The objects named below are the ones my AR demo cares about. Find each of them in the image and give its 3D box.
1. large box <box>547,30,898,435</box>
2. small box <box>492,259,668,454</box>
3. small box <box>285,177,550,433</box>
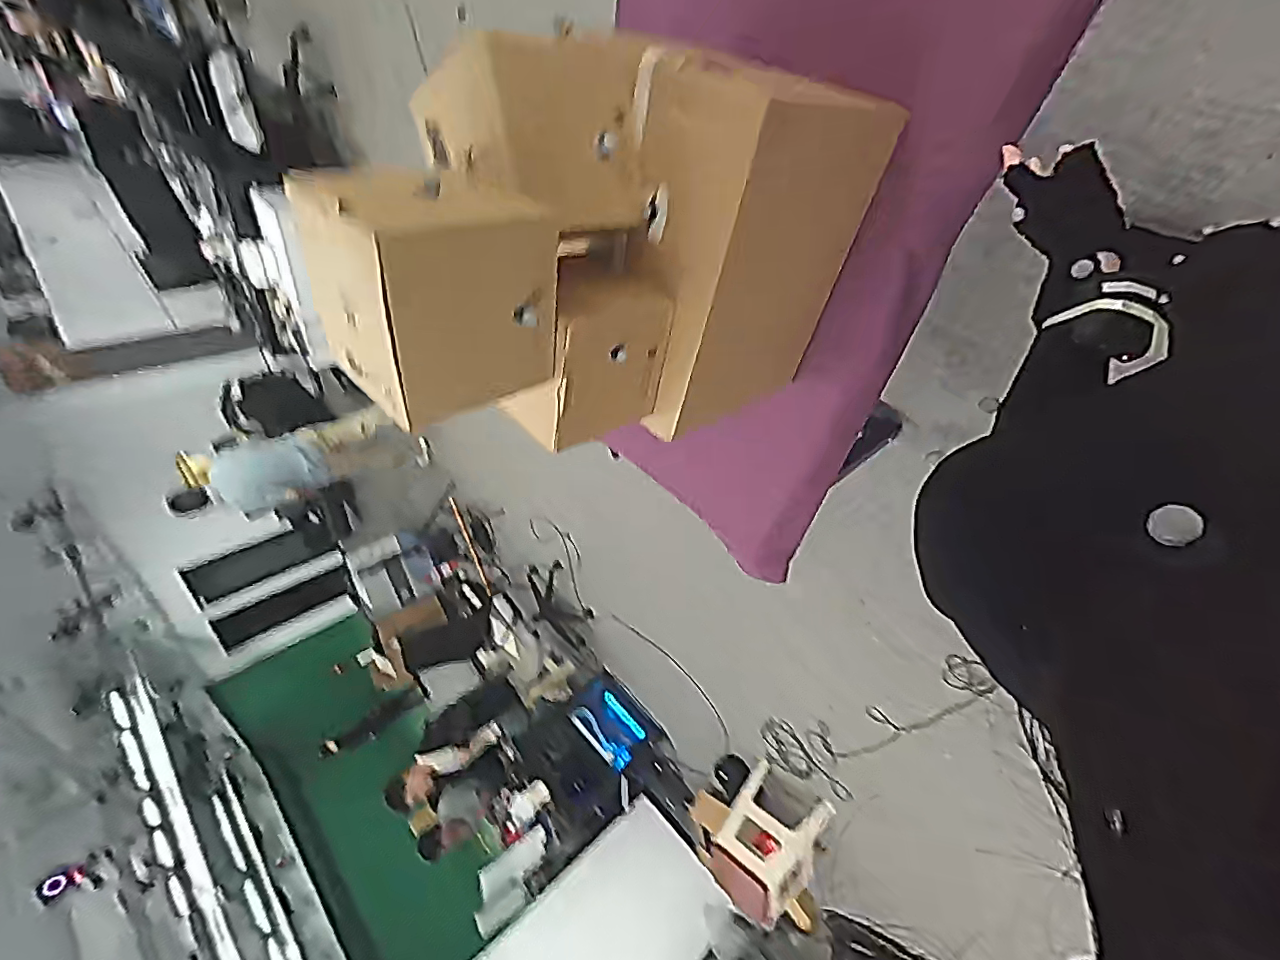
[{"bbox_3d":[0.083,-0.342,0.771,0.320,0.320,0.408,38,136,27],"label":"large box"},{"bbox_3d":[-0.089,-0.165,0.678,0.179,0.176,0.168,39,136,30],"label":"small box"},{"bbox_3d":[-0.201,-0.180,0.526,0.168,0.176,0.179,37,137,30],"label":"small box"}]
